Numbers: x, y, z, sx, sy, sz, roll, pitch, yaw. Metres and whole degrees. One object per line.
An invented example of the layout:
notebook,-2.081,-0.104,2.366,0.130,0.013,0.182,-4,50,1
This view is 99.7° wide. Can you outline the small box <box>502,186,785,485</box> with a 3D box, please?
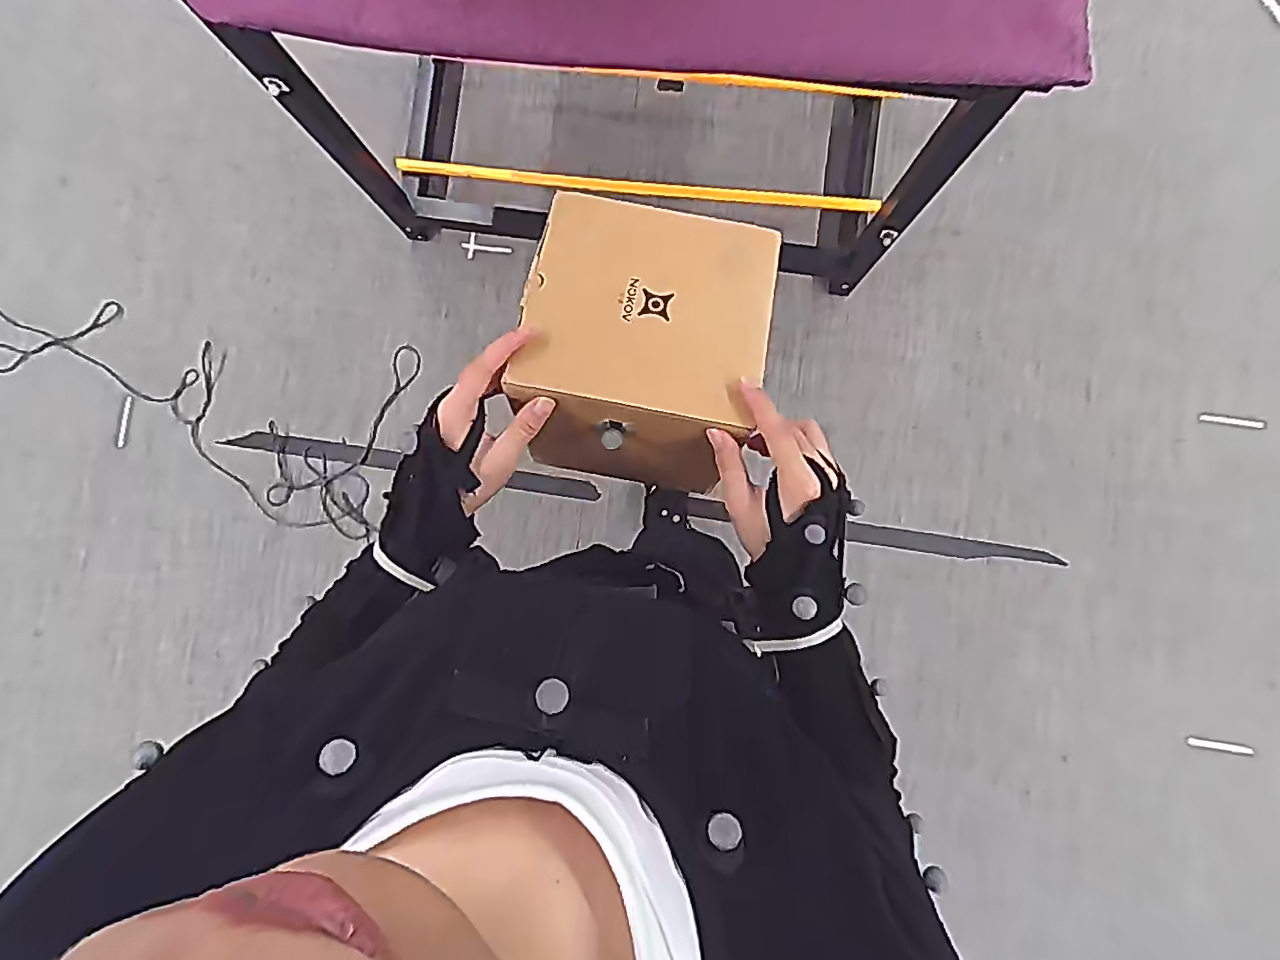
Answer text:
small box,0.004,-0.103,0.454,0.179,0.176,0.168,10,73,0
